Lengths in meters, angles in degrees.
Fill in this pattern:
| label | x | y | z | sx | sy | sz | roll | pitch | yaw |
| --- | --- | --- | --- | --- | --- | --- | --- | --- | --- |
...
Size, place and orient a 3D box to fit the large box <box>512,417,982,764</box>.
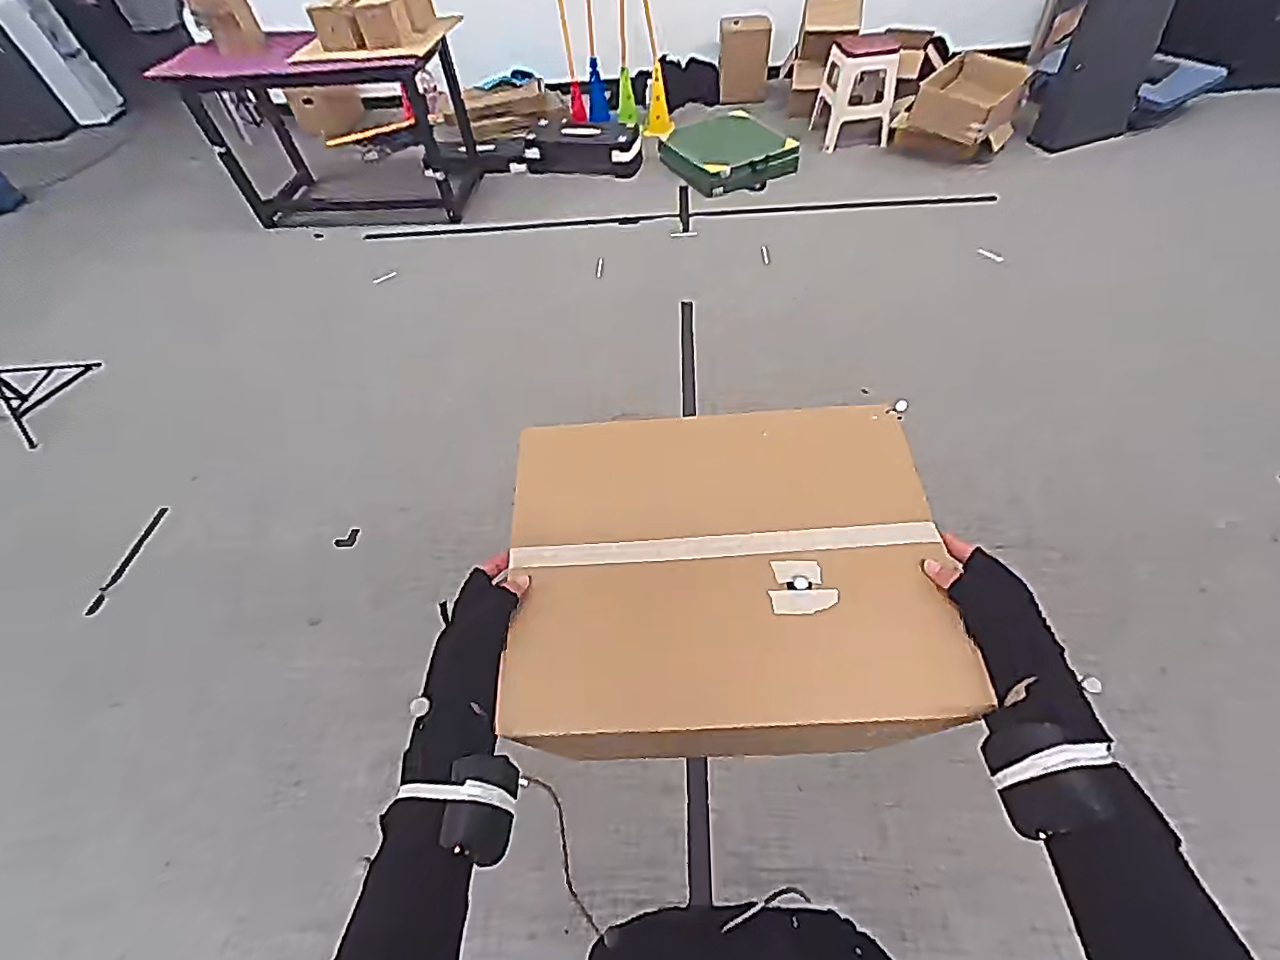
| label | x | y | z | sx | sy | sz | roll | pitch | yaw |
| --- | --- | --- | --- | --- | --- | --- | --- | --- | --- |
| large box | 0.089 | 0.151 | 0.655 | 0.408 | 0.320 | 0.320 | -3 | 59 | 2 |
